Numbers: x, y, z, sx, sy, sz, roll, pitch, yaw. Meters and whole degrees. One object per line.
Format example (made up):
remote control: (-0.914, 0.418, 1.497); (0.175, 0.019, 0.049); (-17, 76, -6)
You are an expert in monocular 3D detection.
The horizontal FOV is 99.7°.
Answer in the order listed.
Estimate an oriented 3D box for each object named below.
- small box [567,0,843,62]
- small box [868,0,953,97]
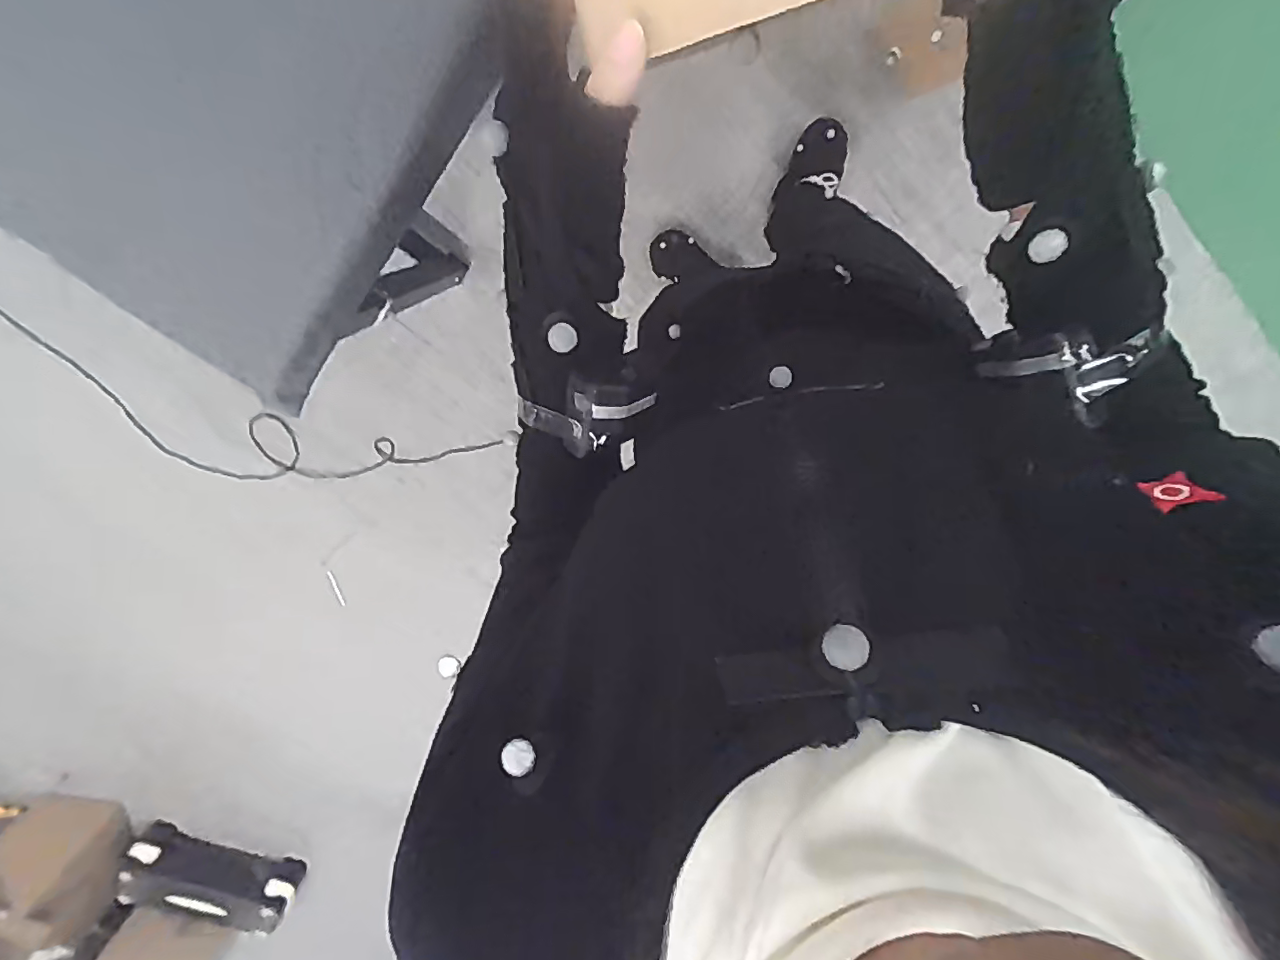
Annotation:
small box: (0.045, -0.299, 0.227); (0.179, 0.176, 0.168); (-10, 125, 9)
small box: (0.550, -0.840, 0.977); (0.168, 0.176, 0.179); (41, 113, -17)
